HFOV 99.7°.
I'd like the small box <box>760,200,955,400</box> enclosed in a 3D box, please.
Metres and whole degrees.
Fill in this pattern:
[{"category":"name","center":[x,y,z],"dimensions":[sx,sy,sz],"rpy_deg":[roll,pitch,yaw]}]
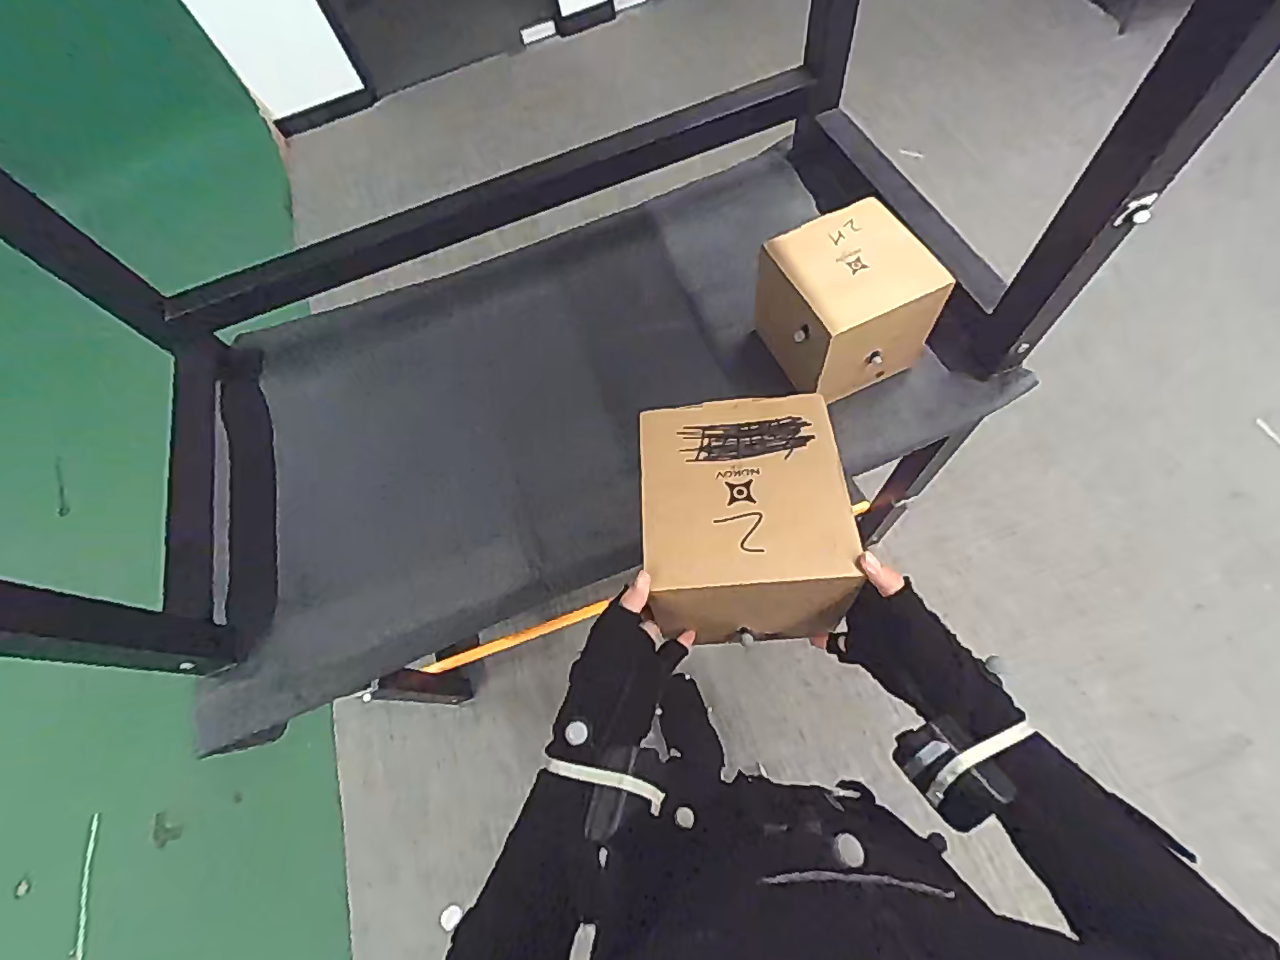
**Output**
[{"category":"small box","center":[0.279,-0.233,0.740],"dimensions":[0.168,0.176,0.179],"rpy_deg":[-24,64,-3]}]
